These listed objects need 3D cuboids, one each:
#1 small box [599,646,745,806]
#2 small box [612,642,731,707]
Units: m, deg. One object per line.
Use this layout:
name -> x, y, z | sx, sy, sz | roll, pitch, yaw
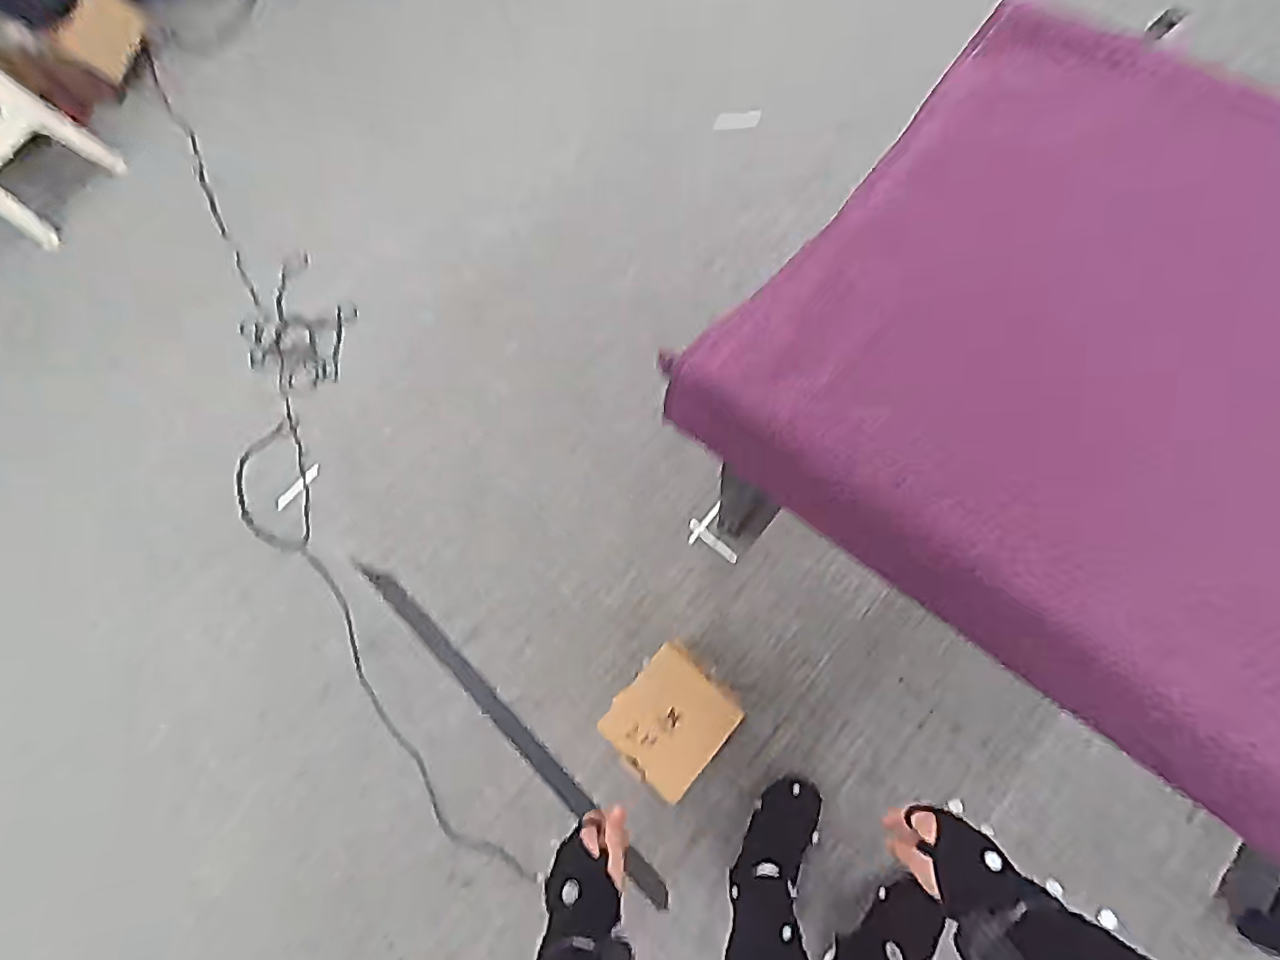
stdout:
small box -> 0.056, 0.406, 0.926 | 0.168, 0.176, 0.179 | 40, 82, 17
small box -> 0.073, 0.448, 1.085 | 0.179, 0.176, 0.168 | -43, 73, -7
